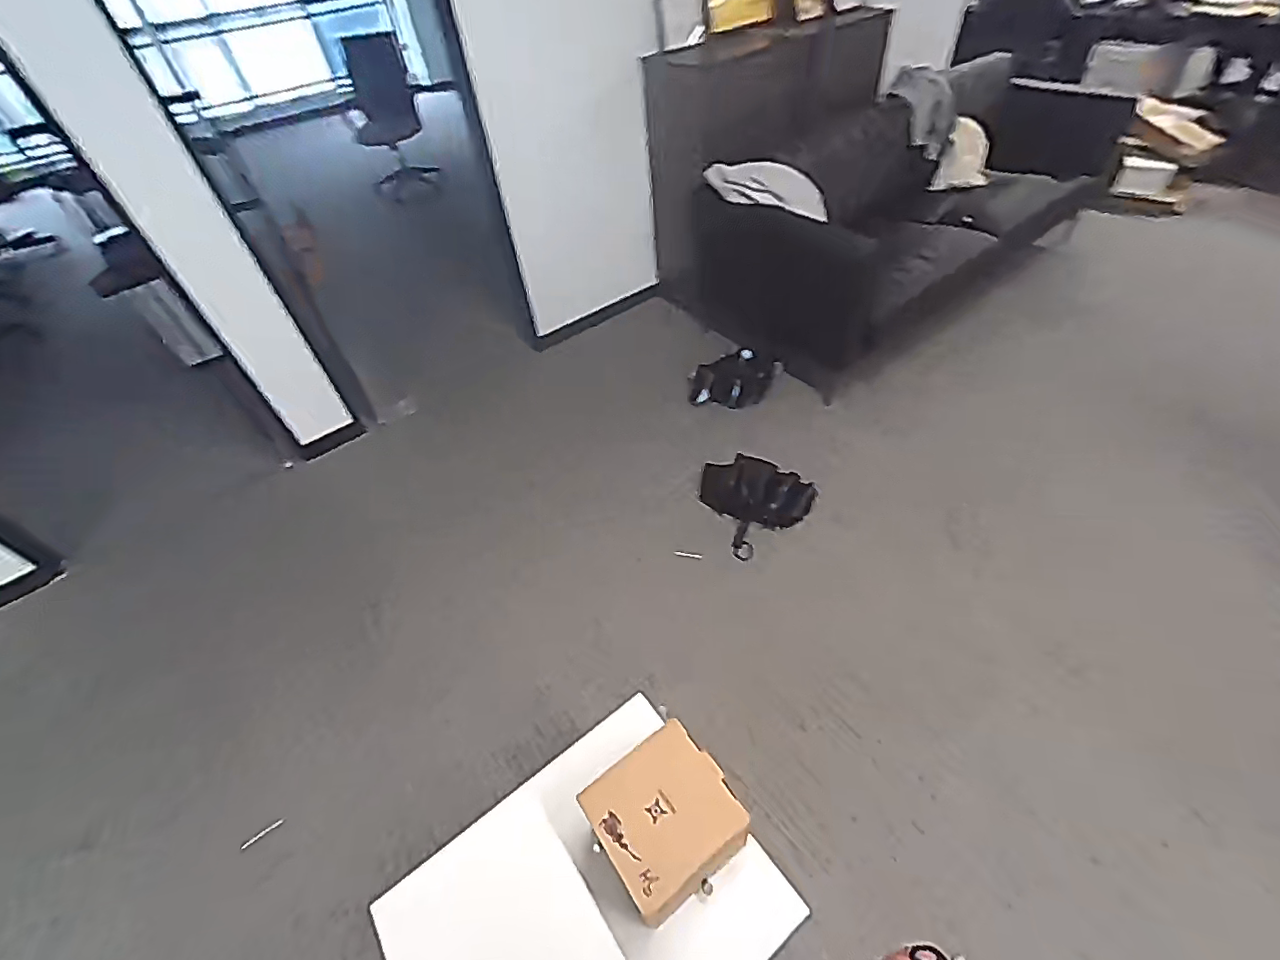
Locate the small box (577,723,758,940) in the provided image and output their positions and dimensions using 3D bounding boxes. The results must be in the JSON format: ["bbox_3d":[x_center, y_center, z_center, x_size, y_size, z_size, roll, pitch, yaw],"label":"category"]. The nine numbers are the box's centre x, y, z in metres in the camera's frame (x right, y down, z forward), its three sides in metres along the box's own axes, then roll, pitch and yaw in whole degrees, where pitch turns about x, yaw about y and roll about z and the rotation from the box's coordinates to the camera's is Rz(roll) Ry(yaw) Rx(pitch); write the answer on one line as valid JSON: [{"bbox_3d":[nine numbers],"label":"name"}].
[{"bbox_3d":[0.034,0.480,0.744,0.179,0.176,0.168,-29,50,-23],"label":"small box"}]
